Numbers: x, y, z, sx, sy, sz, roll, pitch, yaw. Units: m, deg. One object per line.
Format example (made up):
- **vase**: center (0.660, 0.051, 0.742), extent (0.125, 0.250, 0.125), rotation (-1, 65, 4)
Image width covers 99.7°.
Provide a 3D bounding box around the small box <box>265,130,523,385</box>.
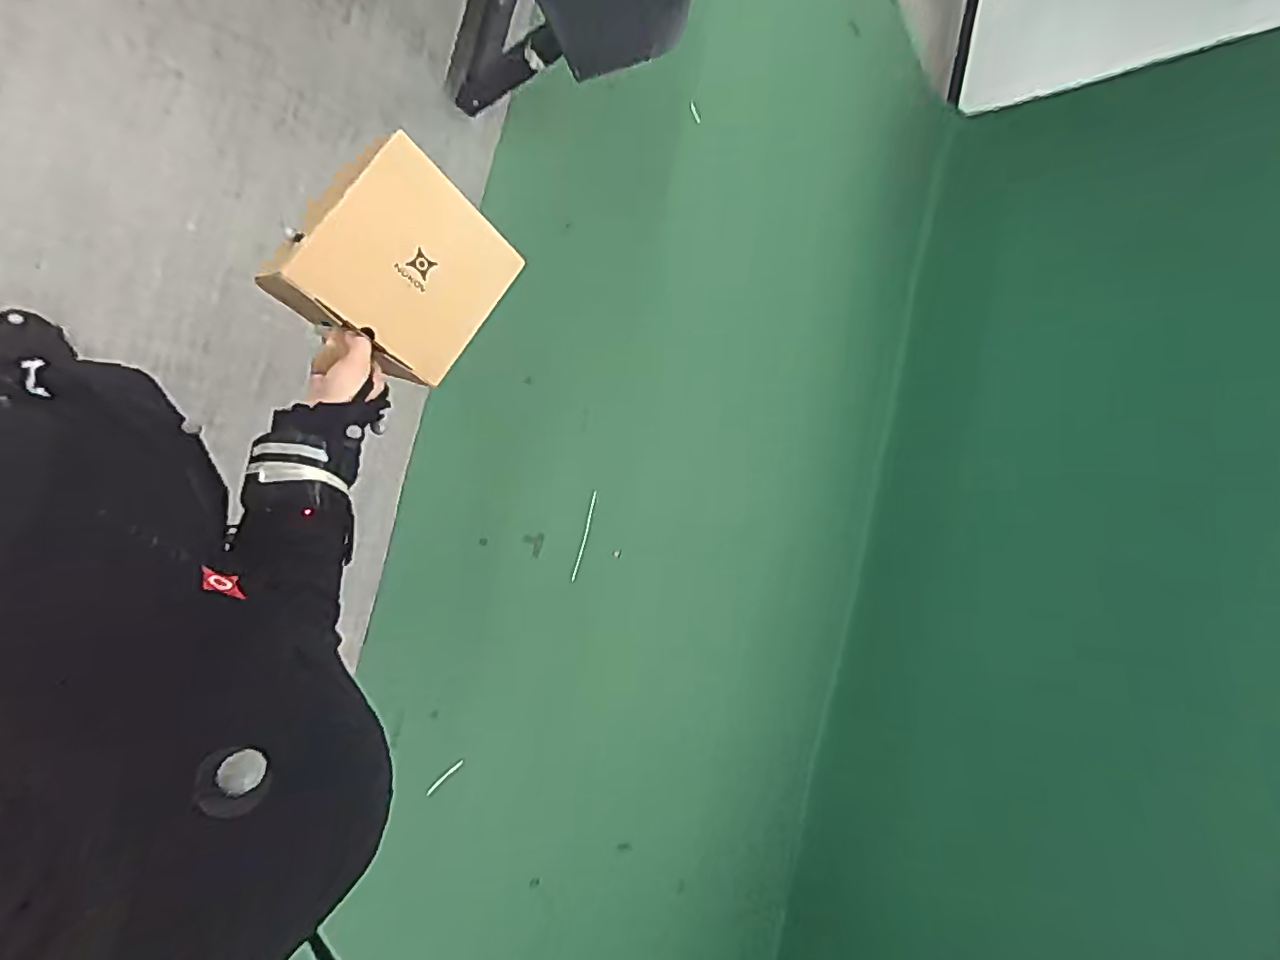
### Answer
- **small box**: center (-0.268, -0.230, 0.585), extent (0.168, 0.176, 0.179), rotation (40, 76, -43)
